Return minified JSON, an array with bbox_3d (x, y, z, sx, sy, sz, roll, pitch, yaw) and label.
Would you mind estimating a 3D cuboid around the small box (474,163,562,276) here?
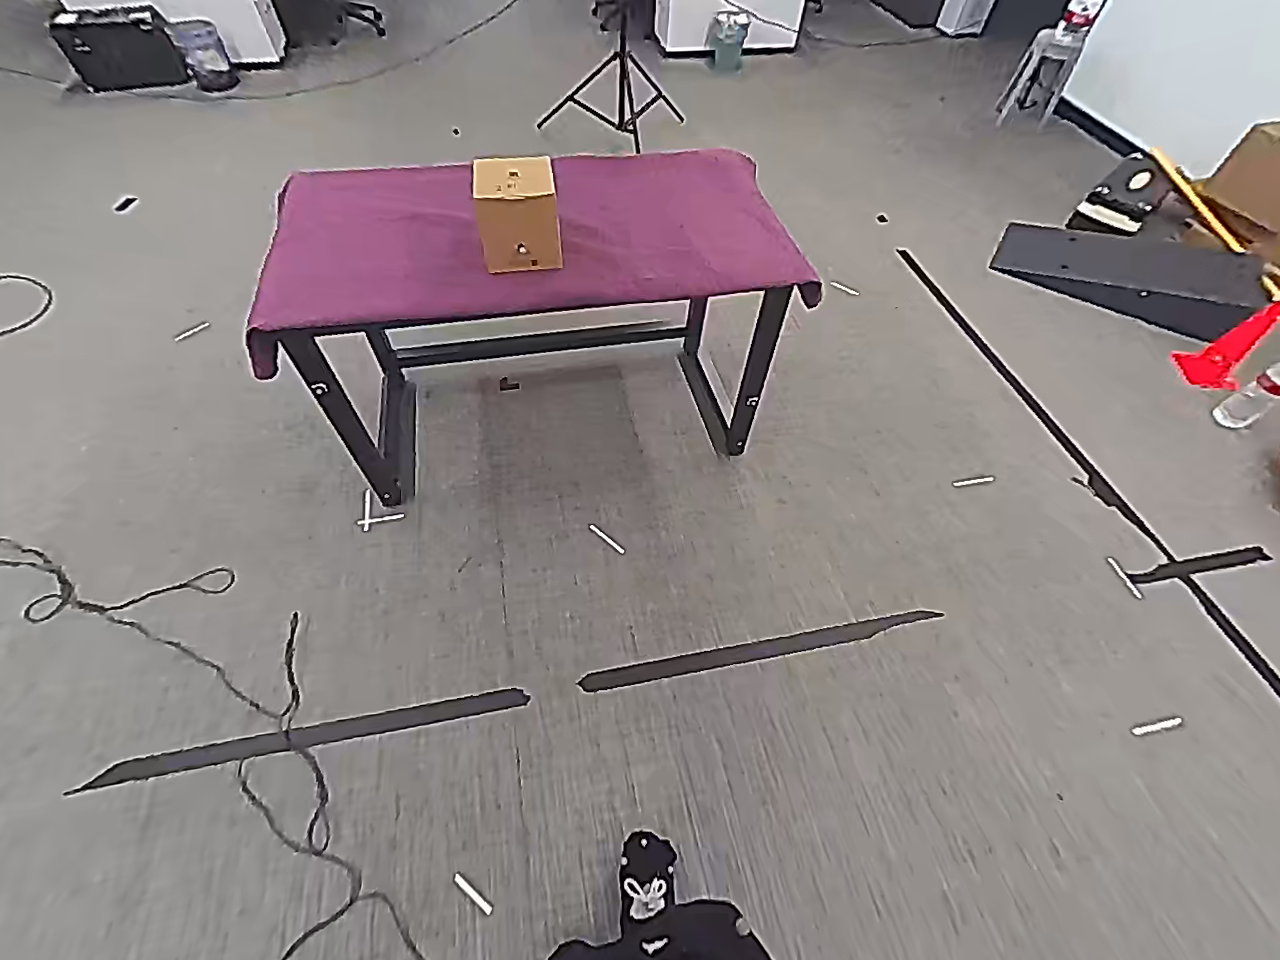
[{"bbox_3d":[-0.268,-0.579,1.203,0.168,0.176,0.179,-7,54,-7],"label":"small box"}]
